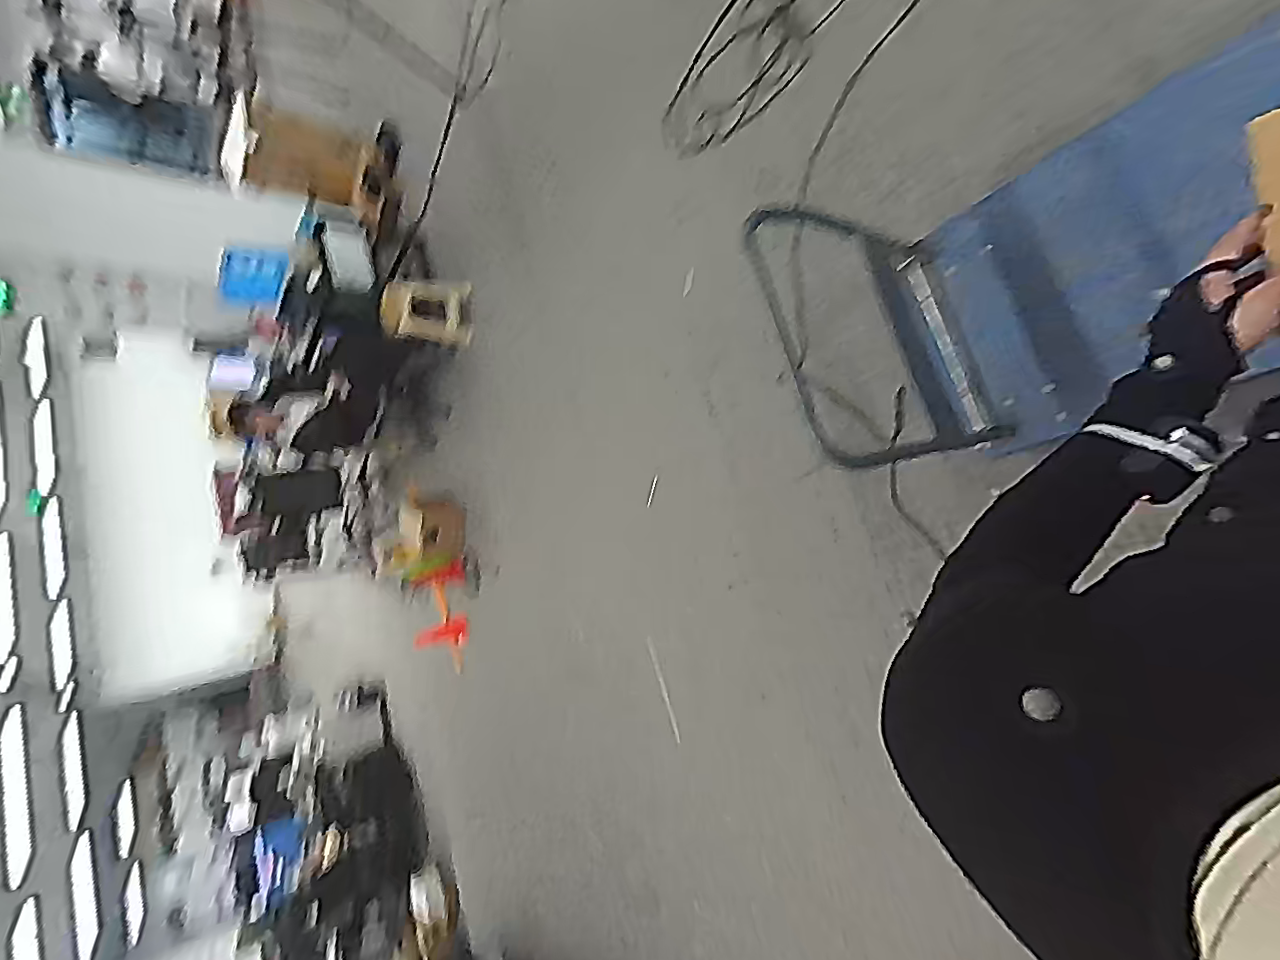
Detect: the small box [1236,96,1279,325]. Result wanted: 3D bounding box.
[{"bbox_3d":[0.640,-0.243,0.452,0.179,0.176,0.168,-5,86,50],"label":"small box"}]
